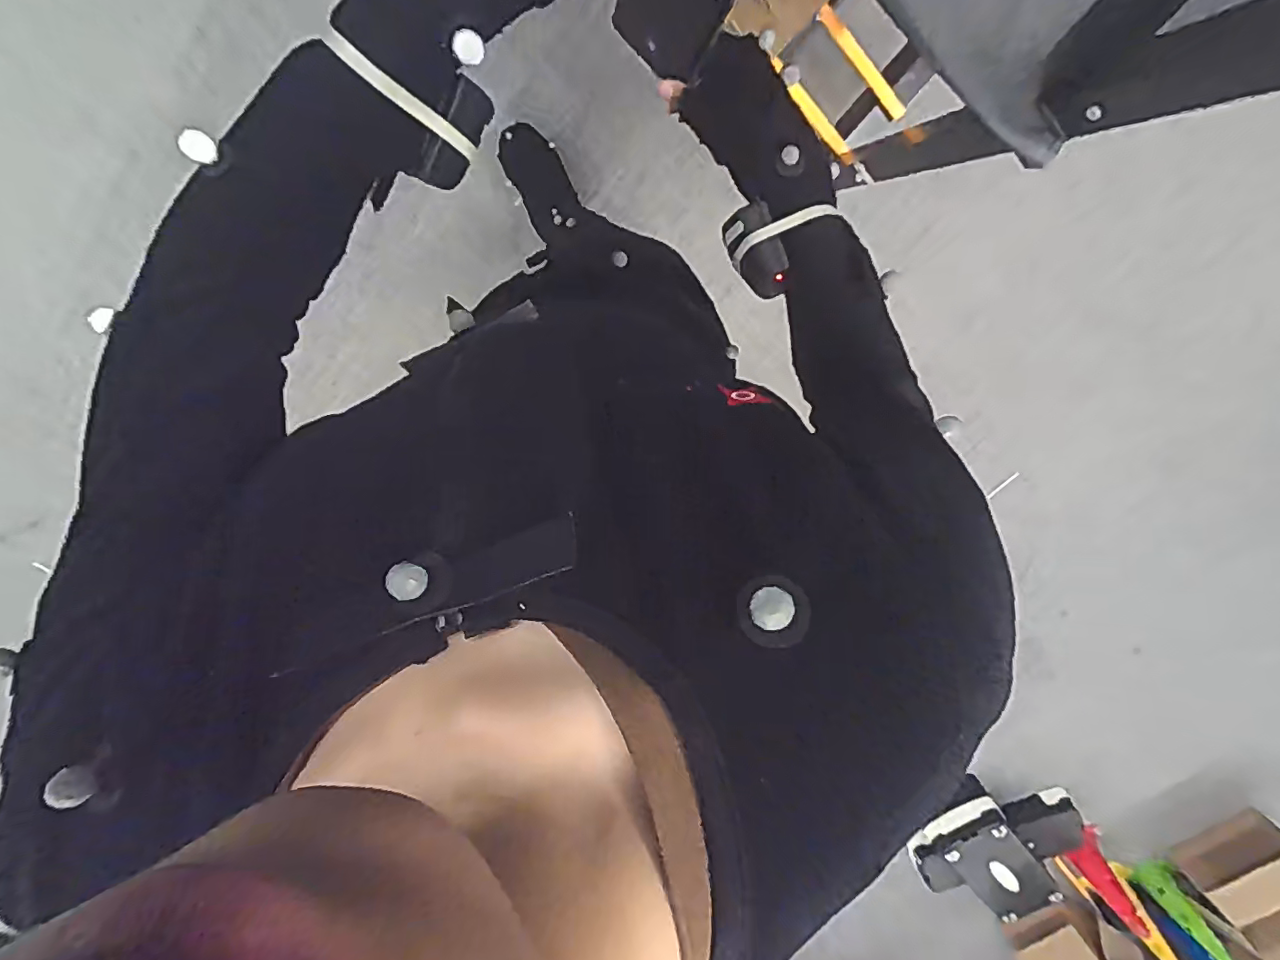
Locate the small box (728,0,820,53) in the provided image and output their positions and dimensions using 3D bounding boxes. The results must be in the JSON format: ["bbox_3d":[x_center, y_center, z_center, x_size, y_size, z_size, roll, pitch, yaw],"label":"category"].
[{"bbox_3d":[0.257,-0.912,0.955,0.179,0.176,0.168,-42,111,14],"label":"small box"}]
